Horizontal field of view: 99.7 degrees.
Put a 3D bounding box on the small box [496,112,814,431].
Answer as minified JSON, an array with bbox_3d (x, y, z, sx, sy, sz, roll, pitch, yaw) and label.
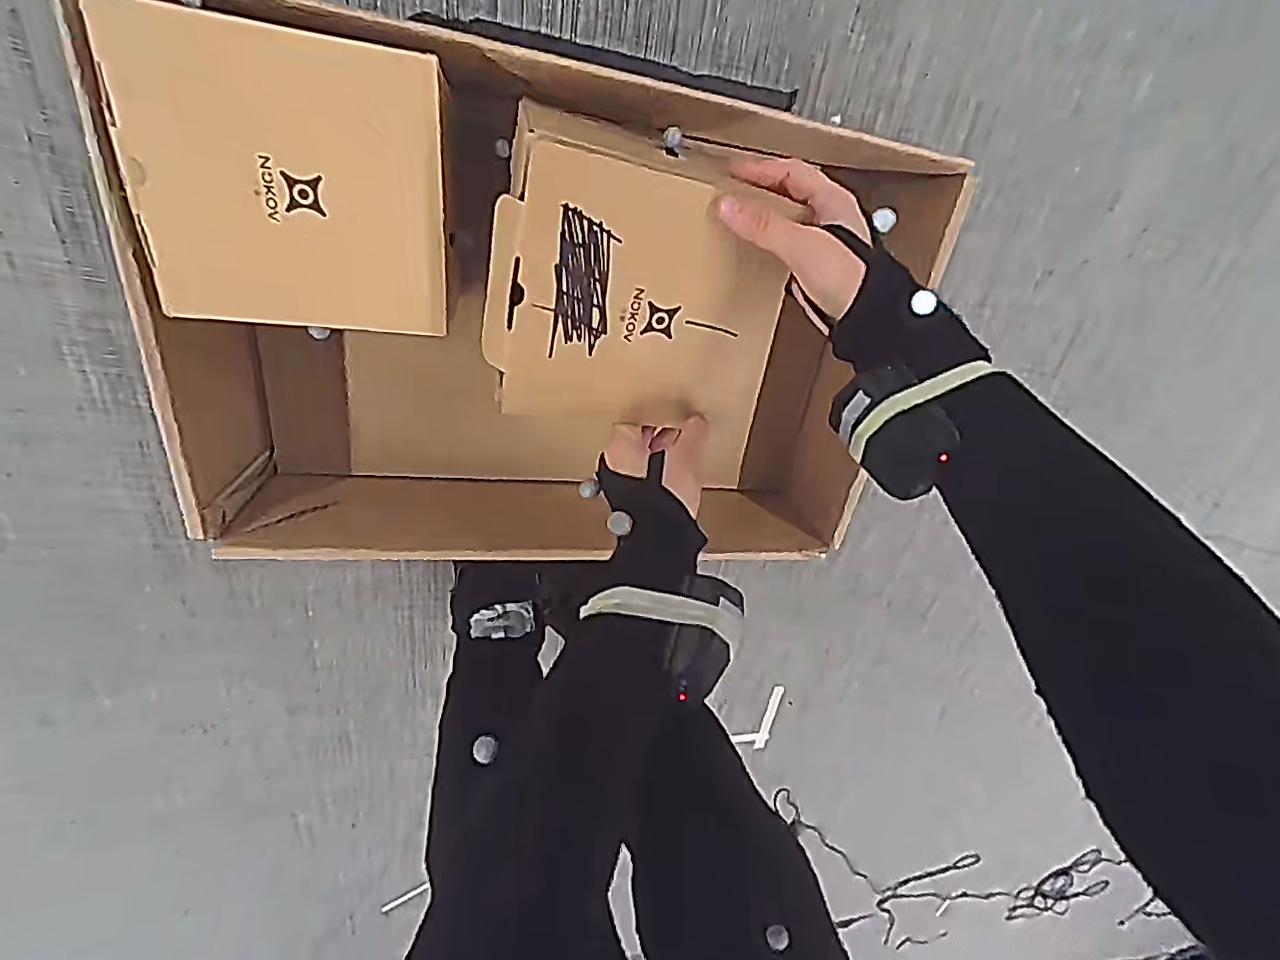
[{"bbox_3d":[-0.011,-0.159,0.410,0.179,0.176,0.168,5,127,-18],"label":"small box"}]
